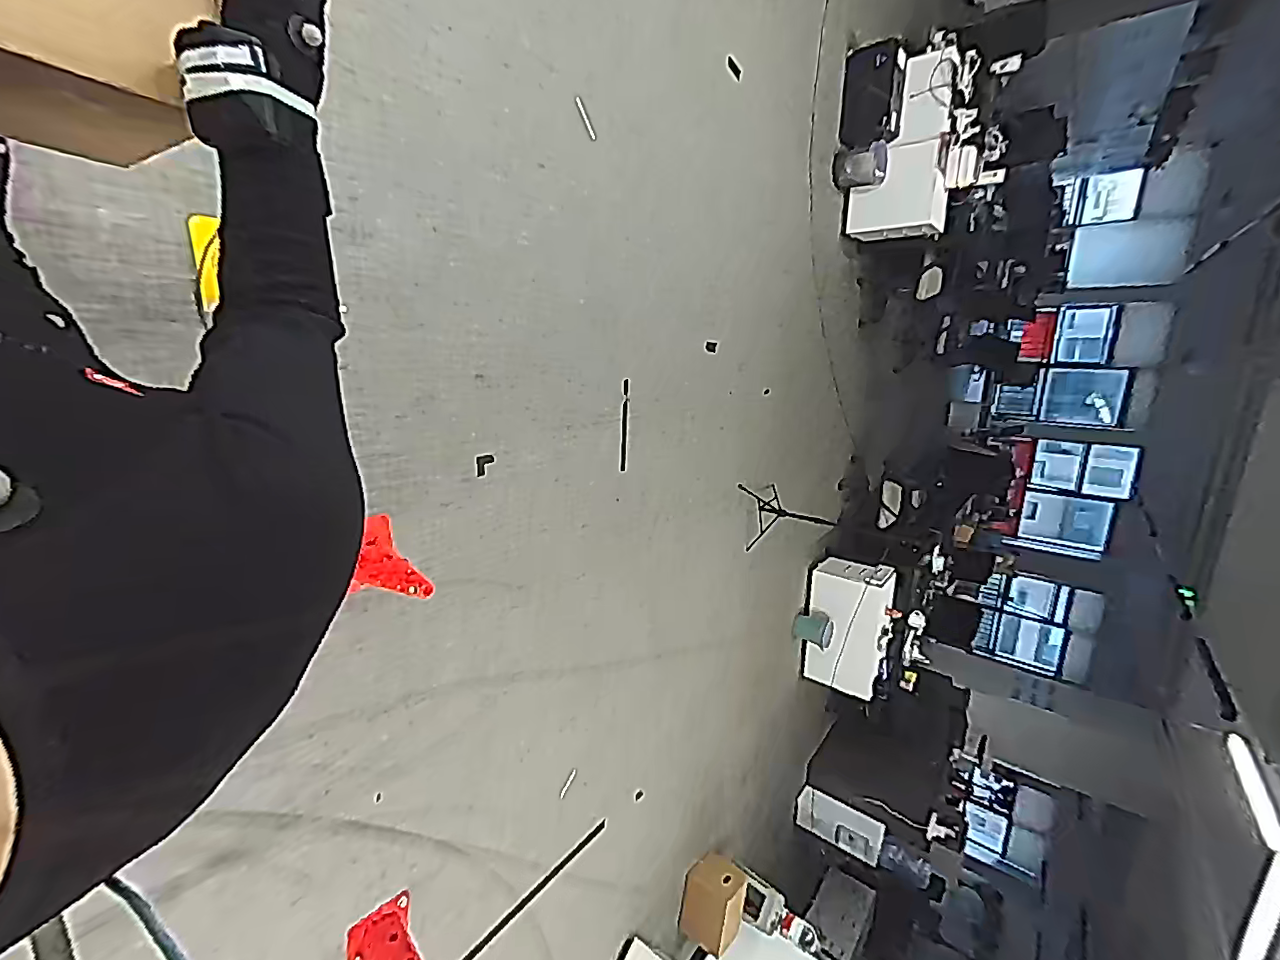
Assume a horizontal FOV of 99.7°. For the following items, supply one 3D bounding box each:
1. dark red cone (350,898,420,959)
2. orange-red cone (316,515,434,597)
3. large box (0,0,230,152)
[{"bbox_3d":[-0.705,1.511,1.641,0.201,0.394,0.202,-6,104,-51],"label":"dark red cone"},{"bbox_3d":[-0.655,0.233,1.407,0.198,0.360,0.199,-20,113,-50],"label":"orange-red cone"},{"bbox_3d":[-0.528,-0.431,0.295,0.408,0.320,0.320,-11,112,-53],"label":"large box"}]
